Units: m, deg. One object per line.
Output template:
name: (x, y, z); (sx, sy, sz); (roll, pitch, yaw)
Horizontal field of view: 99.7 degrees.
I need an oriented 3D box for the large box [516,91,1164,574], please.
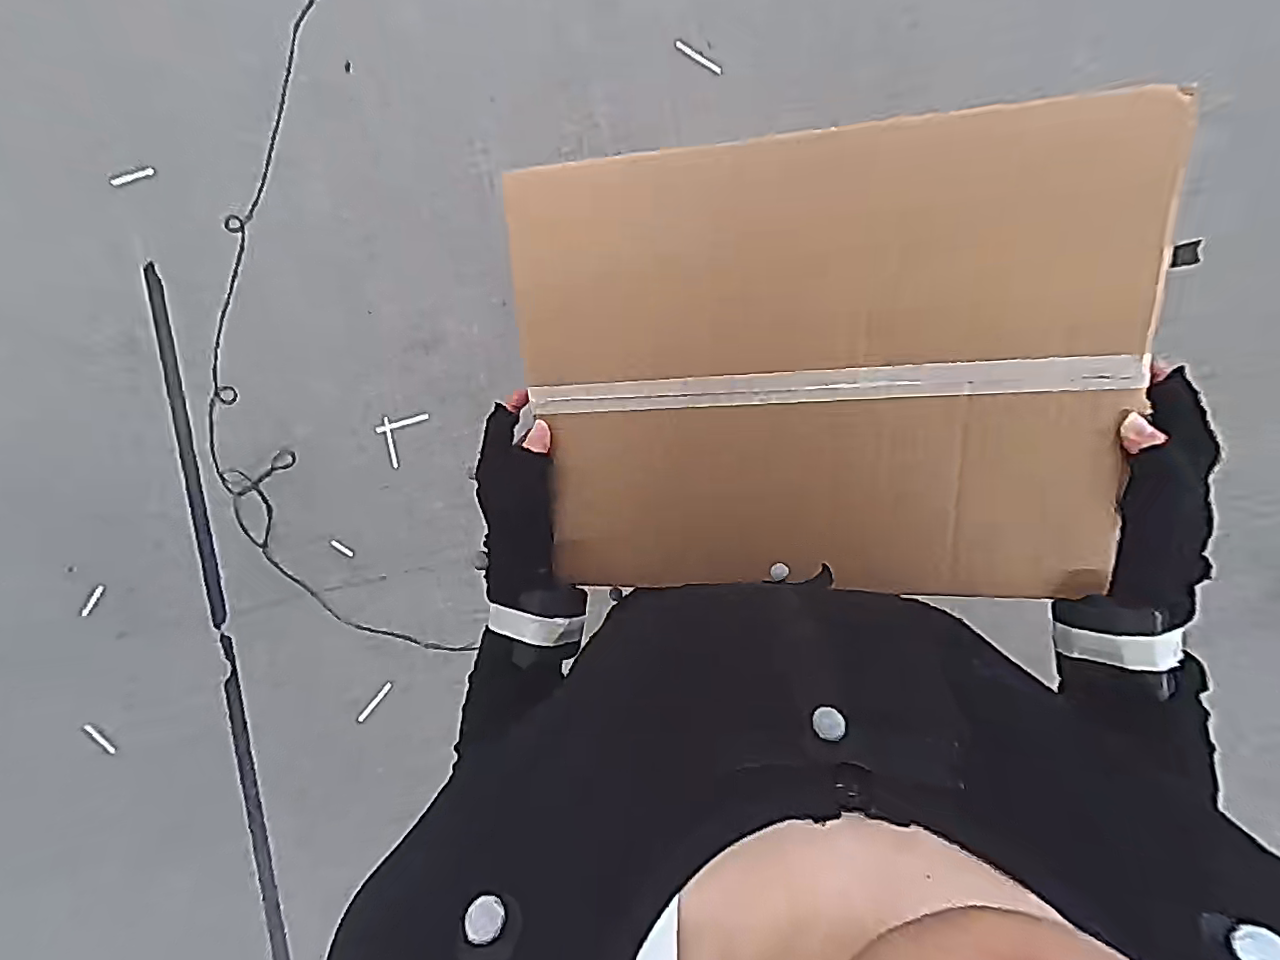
large box: (0.141, -0.116, 0.527); (0.408, 0.320, 0.320); (-1, 108, 11)
